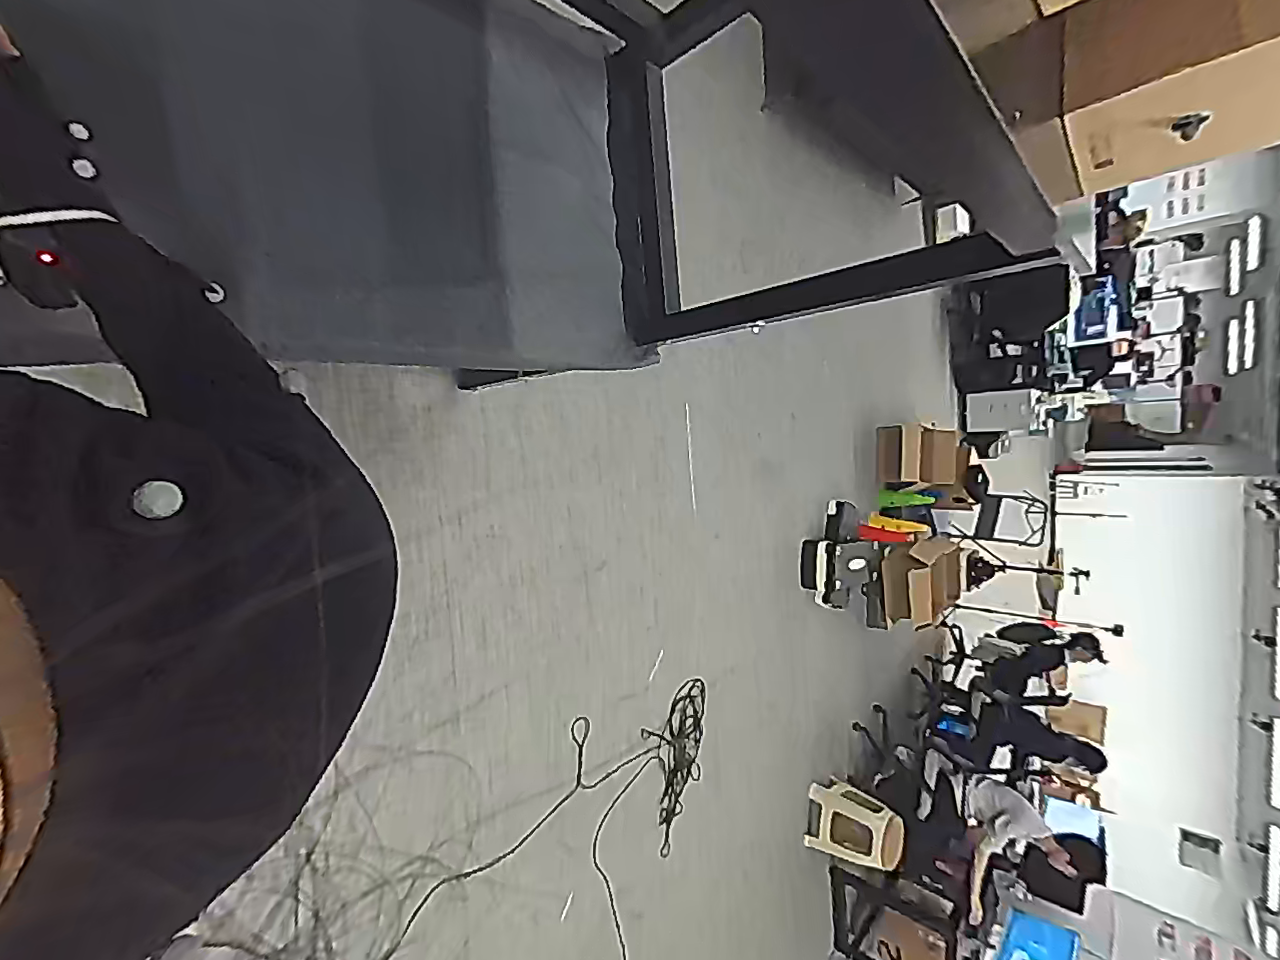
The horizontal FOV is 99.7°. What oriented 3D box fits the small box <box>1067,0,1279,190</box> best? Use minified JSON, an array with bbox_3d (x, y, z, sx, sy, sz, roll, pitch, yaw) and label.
[{"bbox_3d":[0.476,-0.382,0.454,0.168,0.176,0.179,5,87,-46],"label":"small box"}]
